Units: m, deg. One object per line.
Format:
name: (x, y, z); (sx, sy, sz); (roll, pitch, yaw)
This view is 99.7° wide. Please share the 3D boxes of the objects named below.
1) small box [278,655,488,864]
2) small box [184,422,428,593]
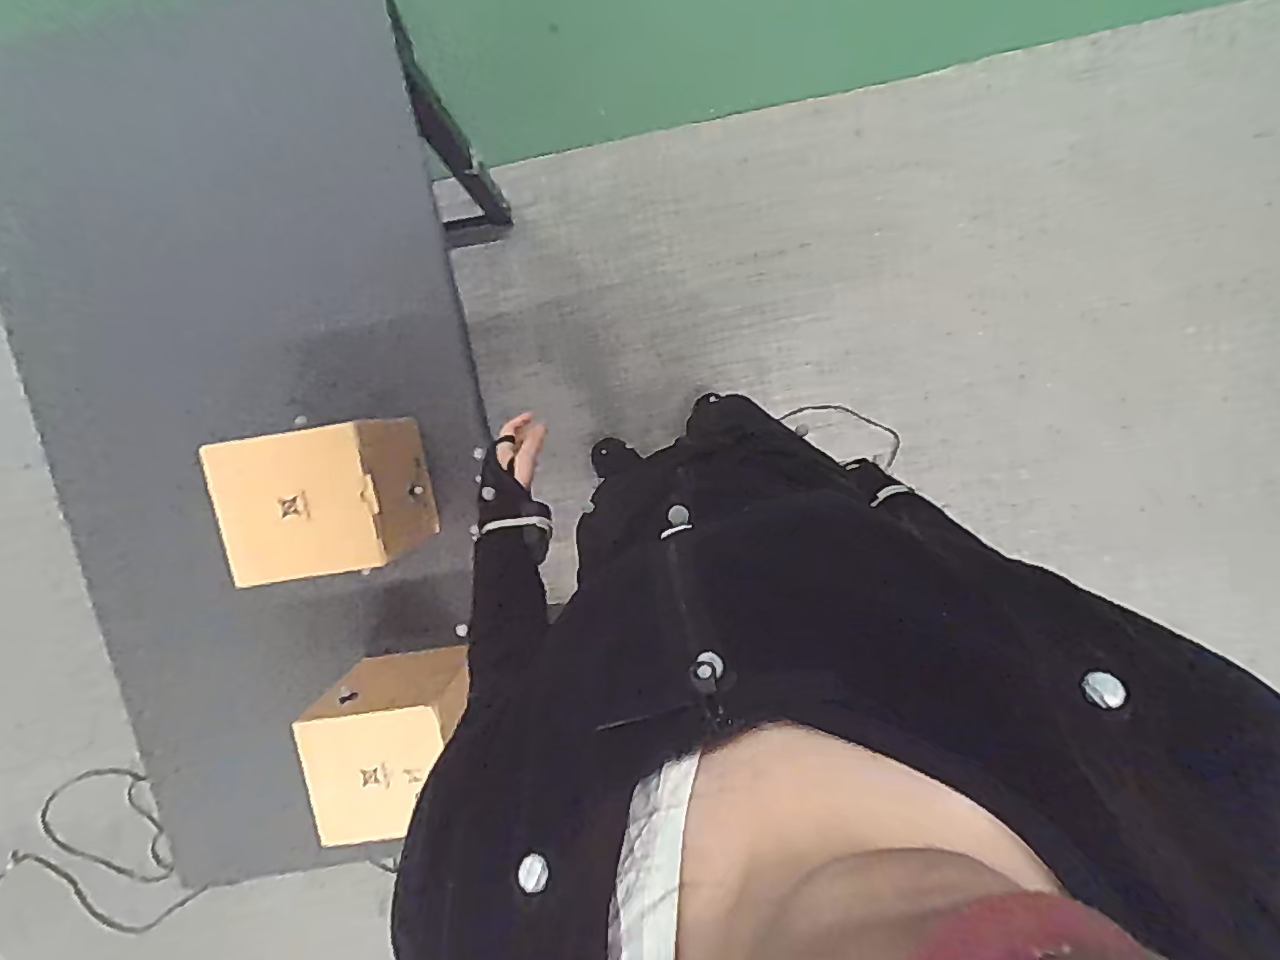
small box: (-0.314, 0.345, 0.697); (0.179, 0.176, 0.168); (-8, 97, -1)
small box: (-0.387, 0.023, 0.659); (0.179, 0.176, 0.168); (-9, 97, -1)
